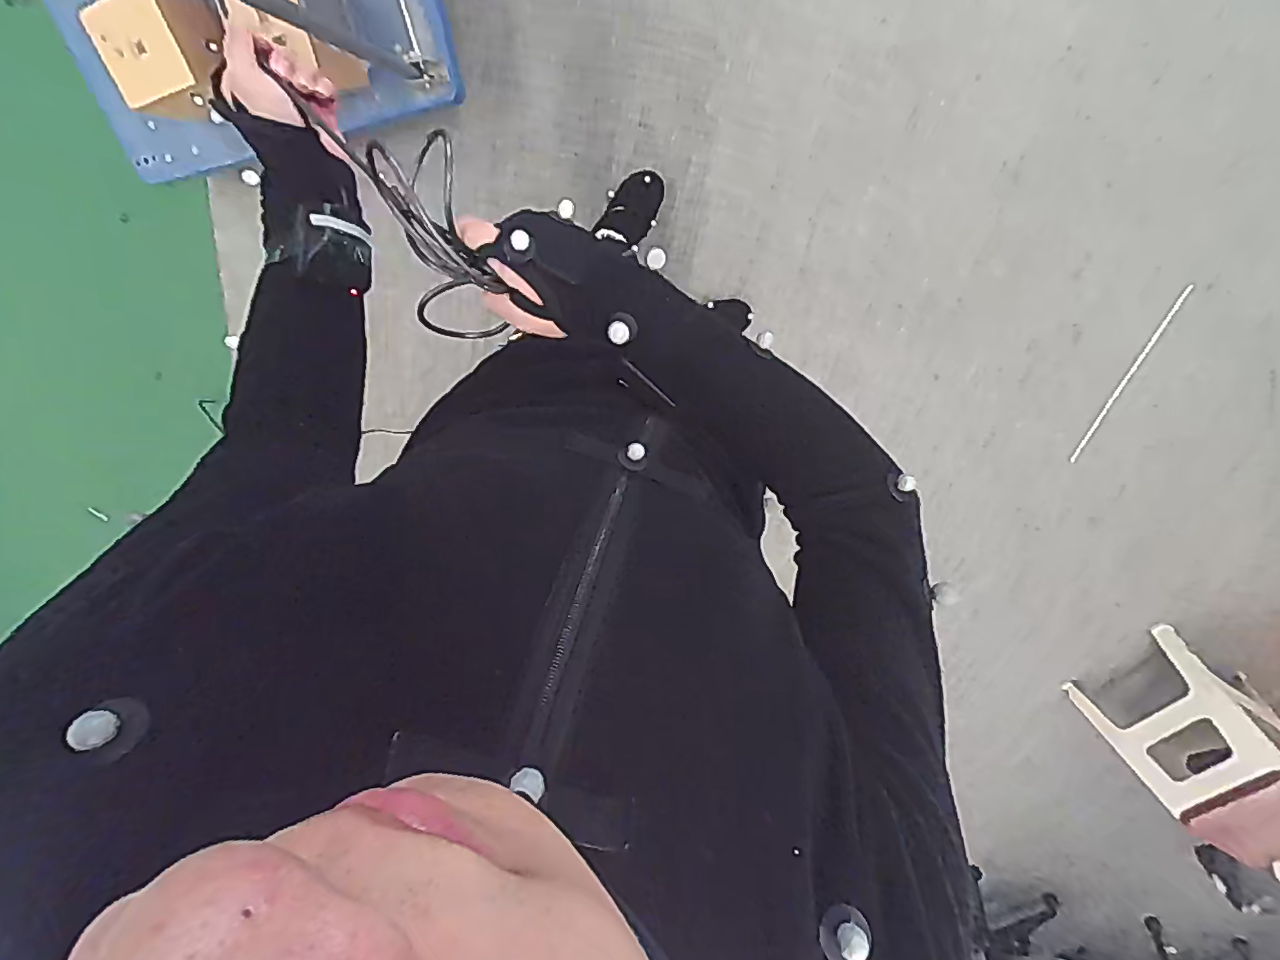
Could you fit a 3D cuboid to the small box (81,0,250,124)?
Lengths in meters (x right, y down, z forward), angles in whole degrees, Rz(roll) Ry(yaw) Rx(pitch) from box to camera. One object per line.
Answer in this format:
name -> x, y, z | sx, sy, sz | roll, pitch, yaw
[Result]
small box -> -0.964, -0.866, 1.124 | 0.179, 0.176, 0.168 | -9, 115, 13
